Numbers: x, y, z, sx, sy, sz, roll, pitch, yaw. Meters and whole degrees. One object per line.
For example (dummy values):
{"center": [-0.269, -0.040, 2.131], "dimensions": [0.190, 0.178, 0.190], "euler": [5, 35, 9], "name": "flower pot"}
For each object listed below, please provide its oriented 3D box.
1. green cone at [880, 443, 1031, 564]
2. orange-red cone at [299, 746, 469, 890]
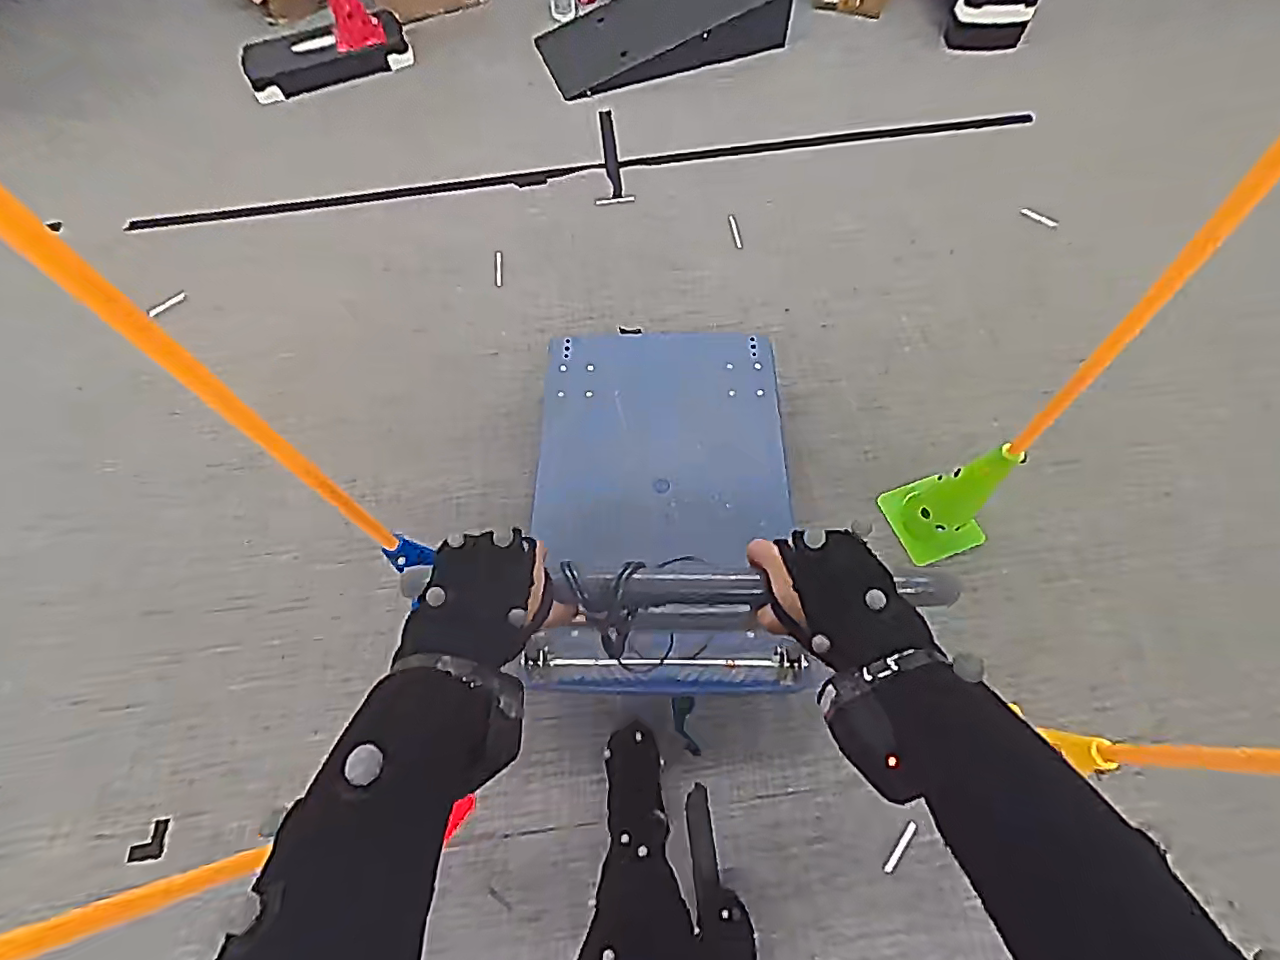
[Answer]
{"center": [0.718, 0.019, 1.183], "dimensions": [0.200, 0.368, 0.202], "euler": [-19, 66, -7], "name": "green cone"}
{"center": [-0.474, 0.600, 0.942], "dimensions": [0.198, 0.360, 0.199], "euler": [35, 69, 17], "name": "orange-red cone"}
